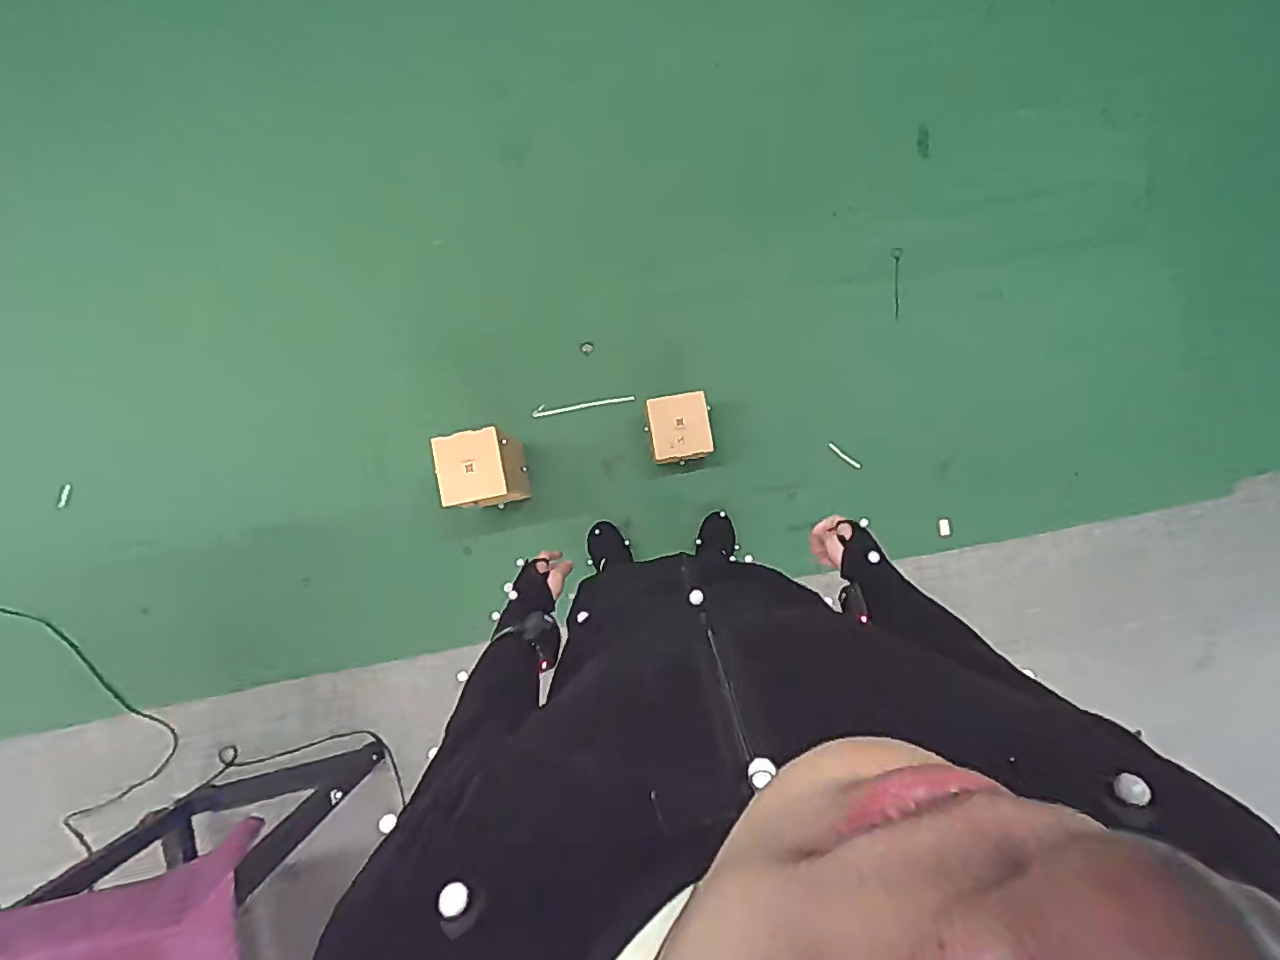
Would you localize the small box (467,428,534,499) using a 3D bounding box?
[{"bbox_3d":[-0.415,-0.042,1.573,0.168,0.176,0.179,-11,88,0],"label":"small box"}]

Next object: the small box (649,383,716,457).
[{"bbox_3d":[0.118,-0.171,1.576,0.168,0.176,0.179,-9,88,0],"label":"small box"}]

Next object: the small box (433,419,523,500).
[{"bbox_3d":[-0.414,-0.049,1.411,0.168,0.176,0.179,-12,87,1],"label":"small box"}]
